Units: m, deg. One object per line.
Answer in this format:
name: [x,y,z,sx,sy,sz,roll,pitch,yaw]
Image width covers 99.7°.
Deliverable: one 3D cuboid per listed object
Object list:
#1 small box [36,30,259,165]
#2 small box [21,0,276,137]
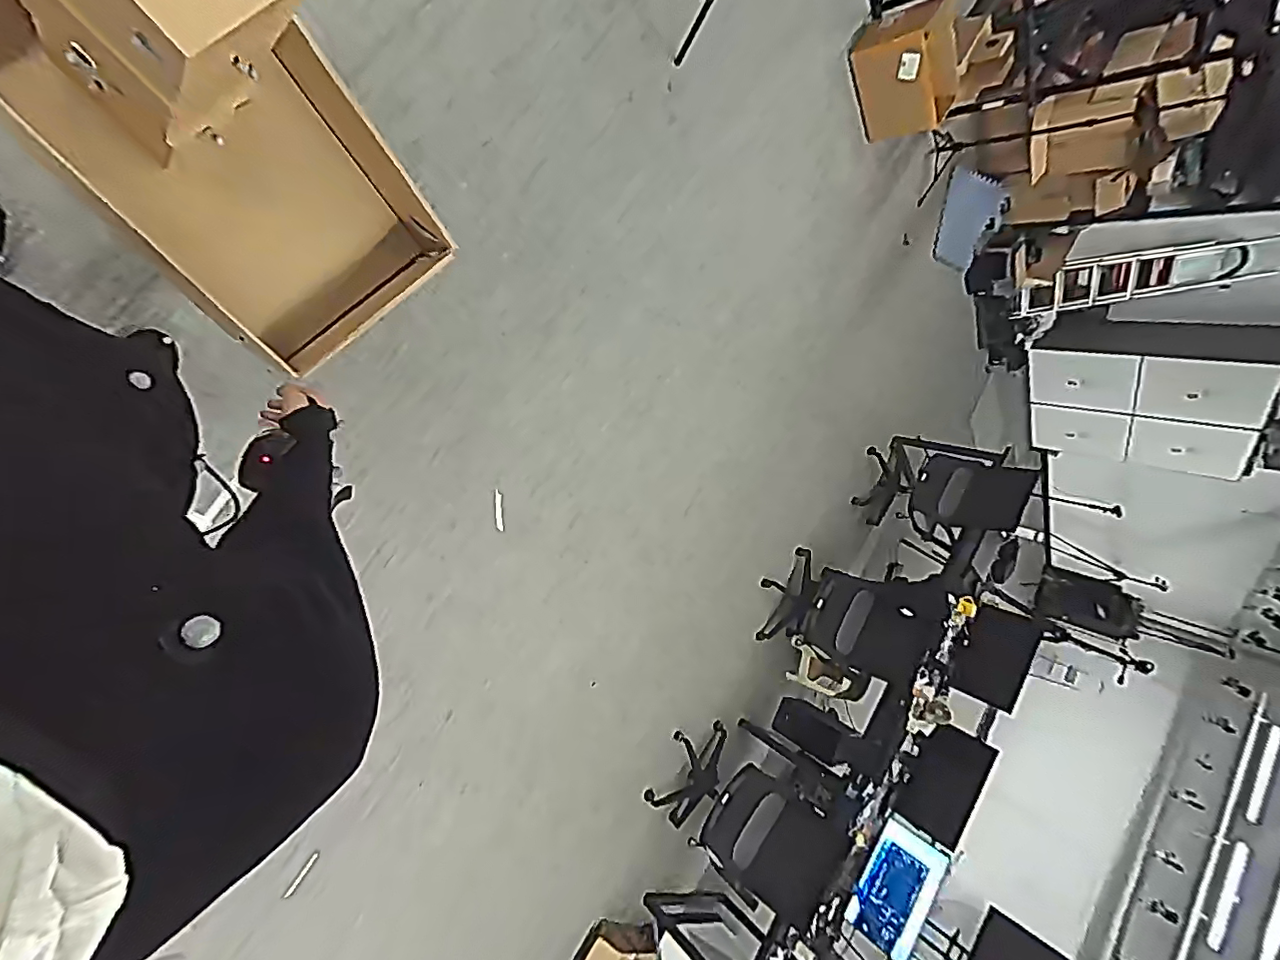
small box: [-0.704,-0.591,0.777,0.168,0.176,0.179,-53,134,-17]
small box: [-0.597,-0.560,0.657,0.179,0.176,0.168,-55,133,-16]
